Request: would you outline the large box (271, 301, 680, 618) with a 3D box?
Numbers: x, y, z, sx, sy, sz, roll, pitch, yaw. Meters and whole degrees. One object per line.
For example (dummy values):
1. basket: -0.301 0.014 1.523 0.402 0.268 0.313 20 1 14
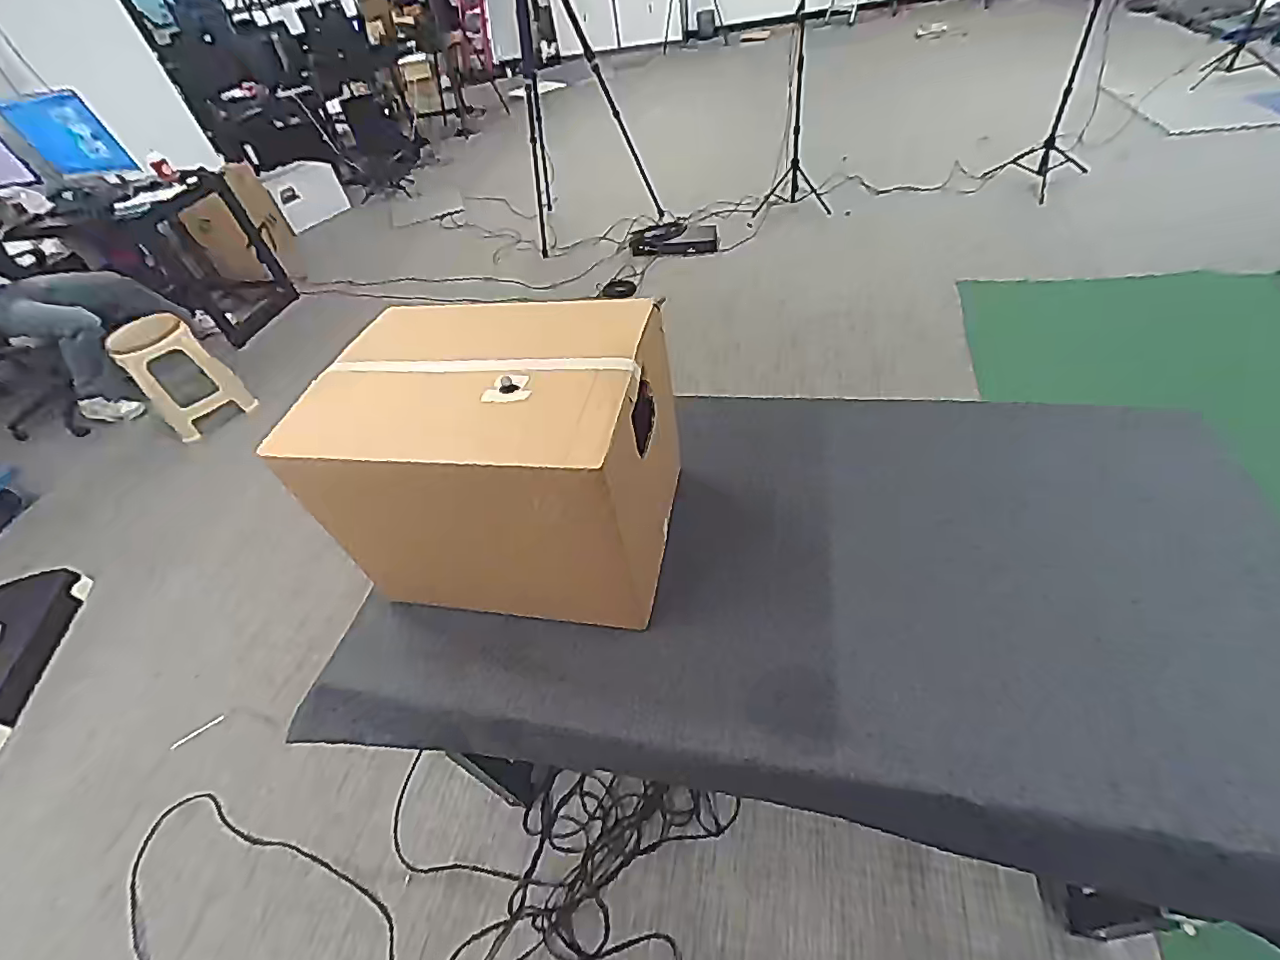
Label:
1. large box: -0.170 -0.031 0.755 0.408 0.320 0.320 3 48 12
